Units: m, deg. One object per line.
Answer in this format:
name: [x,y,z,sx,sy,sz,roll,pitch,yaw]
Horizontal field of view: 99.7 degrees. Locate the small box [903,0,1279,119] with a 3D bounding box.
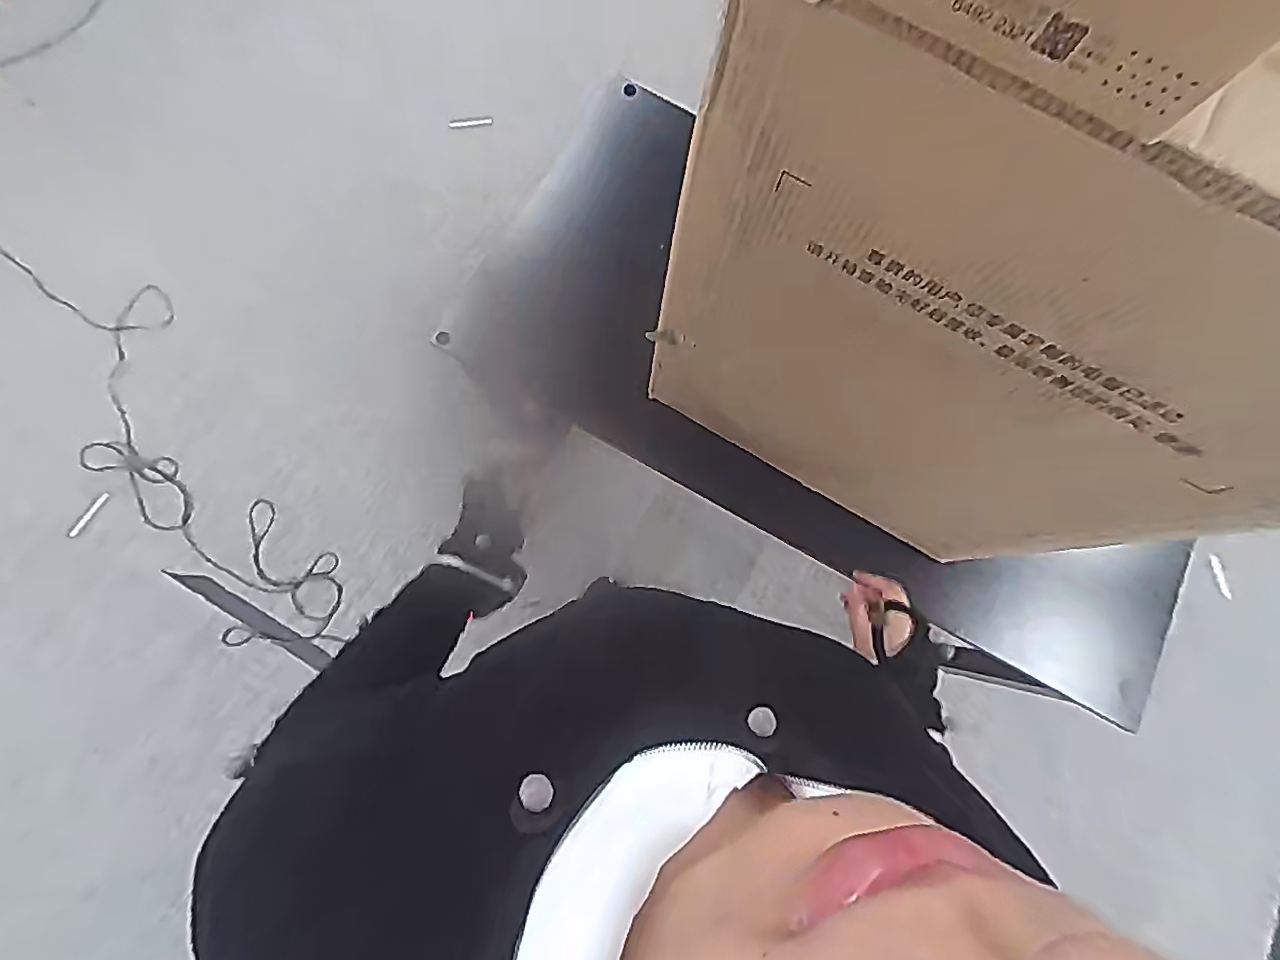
small box: [0.191,-0.271,0.164,0.168,0.176,0.179,29,81,3]
